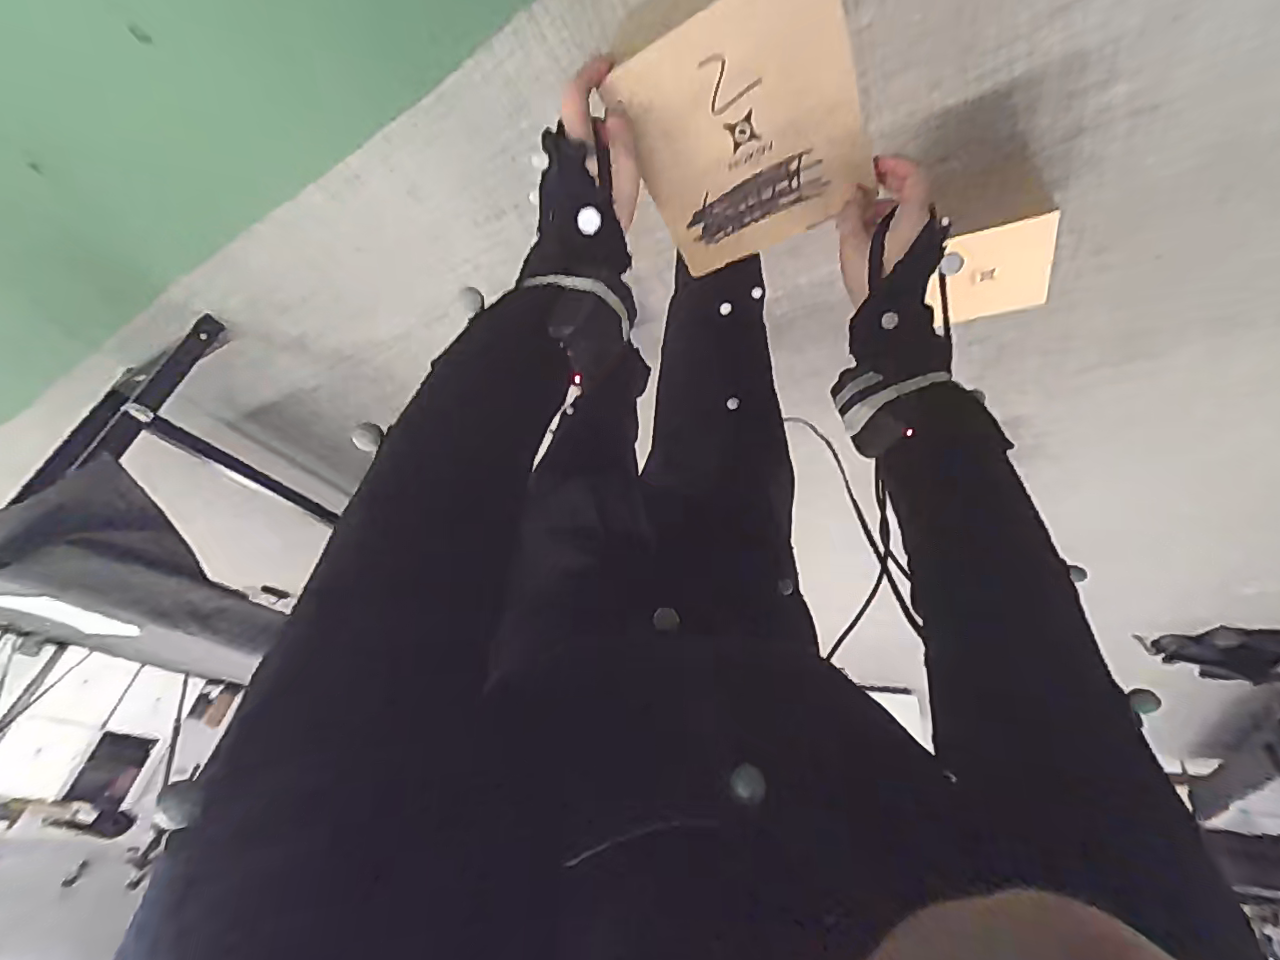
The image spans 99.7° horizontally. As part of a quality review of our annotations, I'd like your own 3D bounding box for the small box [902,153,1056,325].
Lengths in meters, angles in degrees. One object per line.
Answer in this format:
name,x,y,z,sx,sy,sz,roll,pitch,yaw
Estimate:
small box,0.532,-0.385,0.870,0.179,0.176,0.168,-7,144,26
